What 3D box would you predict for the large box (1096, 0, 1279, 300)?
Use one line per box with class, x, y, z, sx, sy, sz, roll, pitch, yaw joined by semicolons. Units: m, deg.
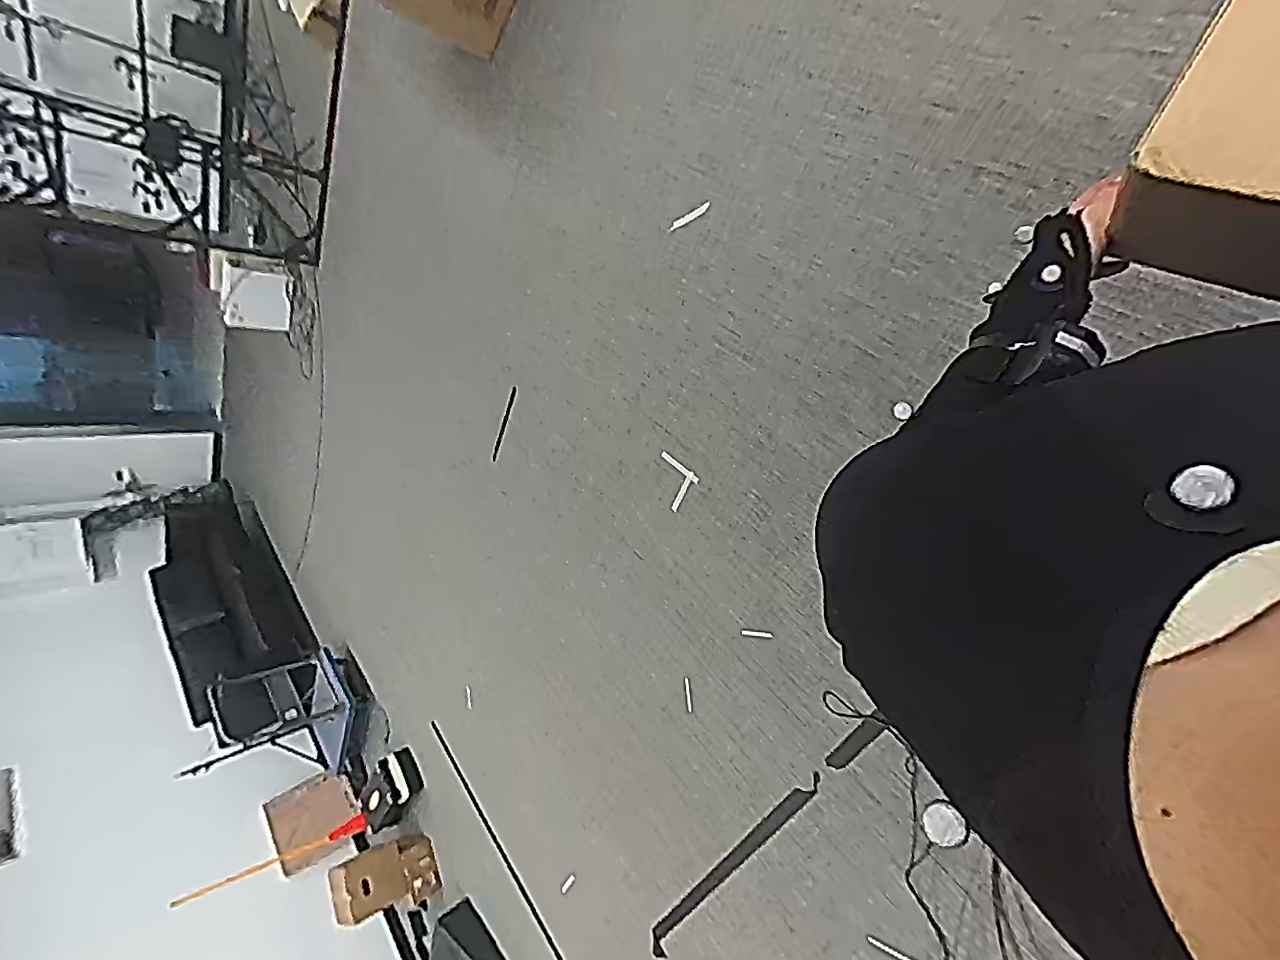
large box;0.510;-0.215;0.218;0.408;0.320;0.320;32;120;27
